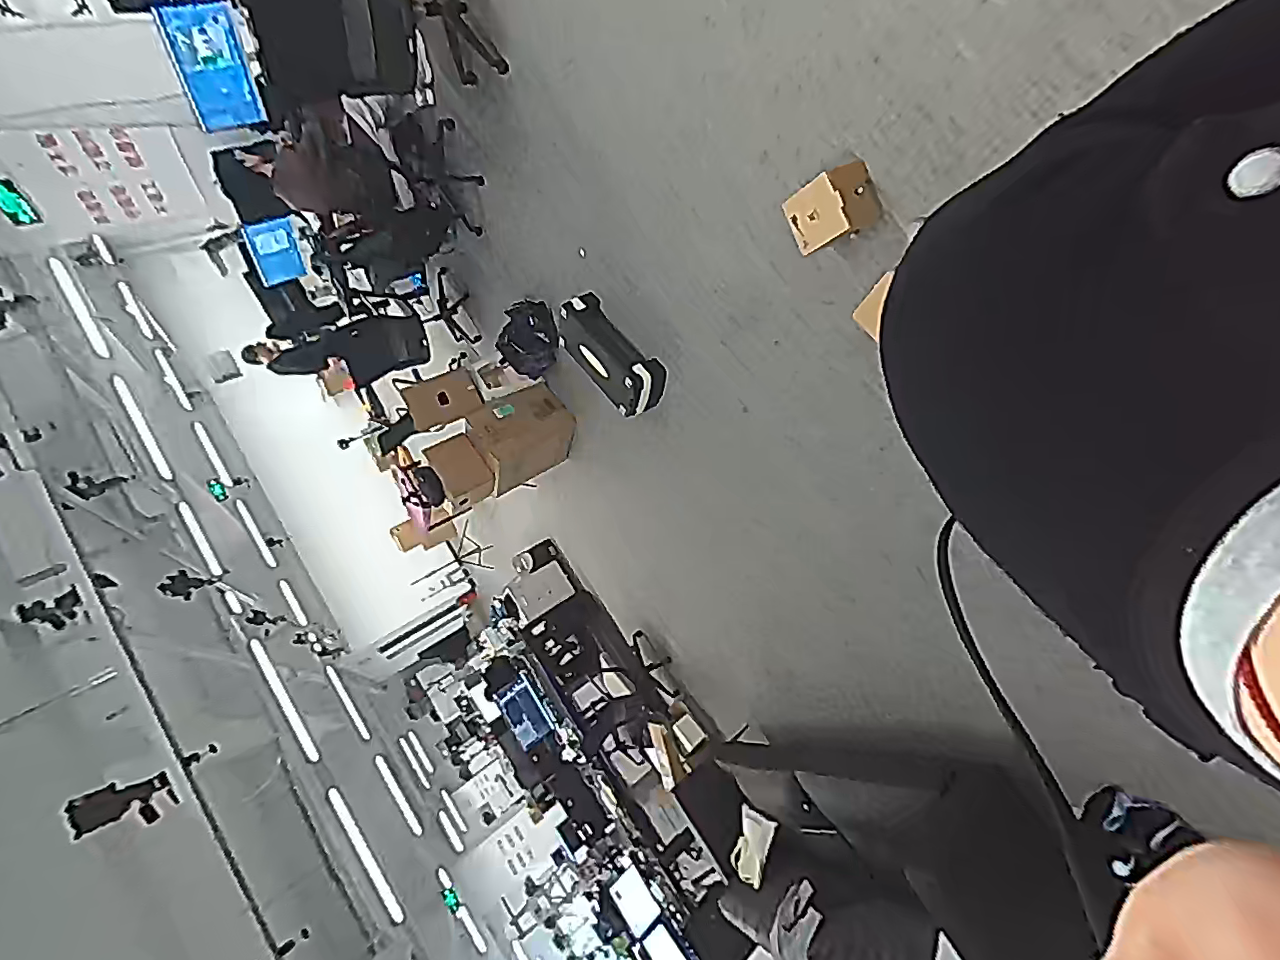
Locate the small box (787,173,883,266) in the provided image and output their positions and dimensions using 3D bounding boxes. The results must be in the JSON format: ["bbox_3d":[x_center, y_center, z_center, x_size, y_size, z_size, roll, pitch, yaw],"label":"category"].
[{"bbox_3d":[0.568,-0.751,1.557,0.179,0.176,0.168,-12,106,61],"label":"small box"}]
